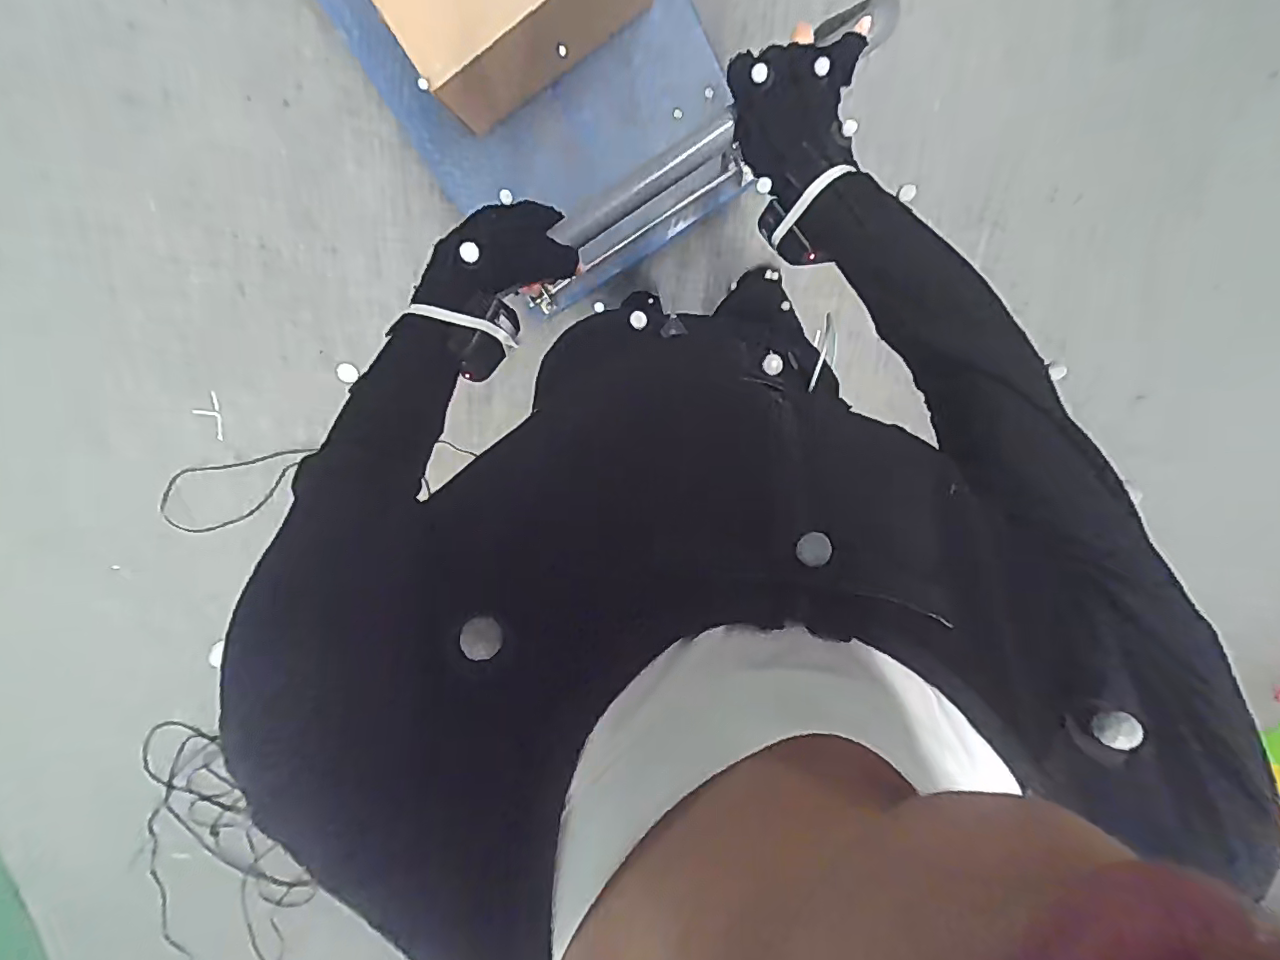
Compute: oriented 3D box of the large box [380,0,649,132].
[{"bbox_3d":[-0.209,-0.835,0.833,0.408,0.320,0.320,-32,110,10],"label":"large box"}]
